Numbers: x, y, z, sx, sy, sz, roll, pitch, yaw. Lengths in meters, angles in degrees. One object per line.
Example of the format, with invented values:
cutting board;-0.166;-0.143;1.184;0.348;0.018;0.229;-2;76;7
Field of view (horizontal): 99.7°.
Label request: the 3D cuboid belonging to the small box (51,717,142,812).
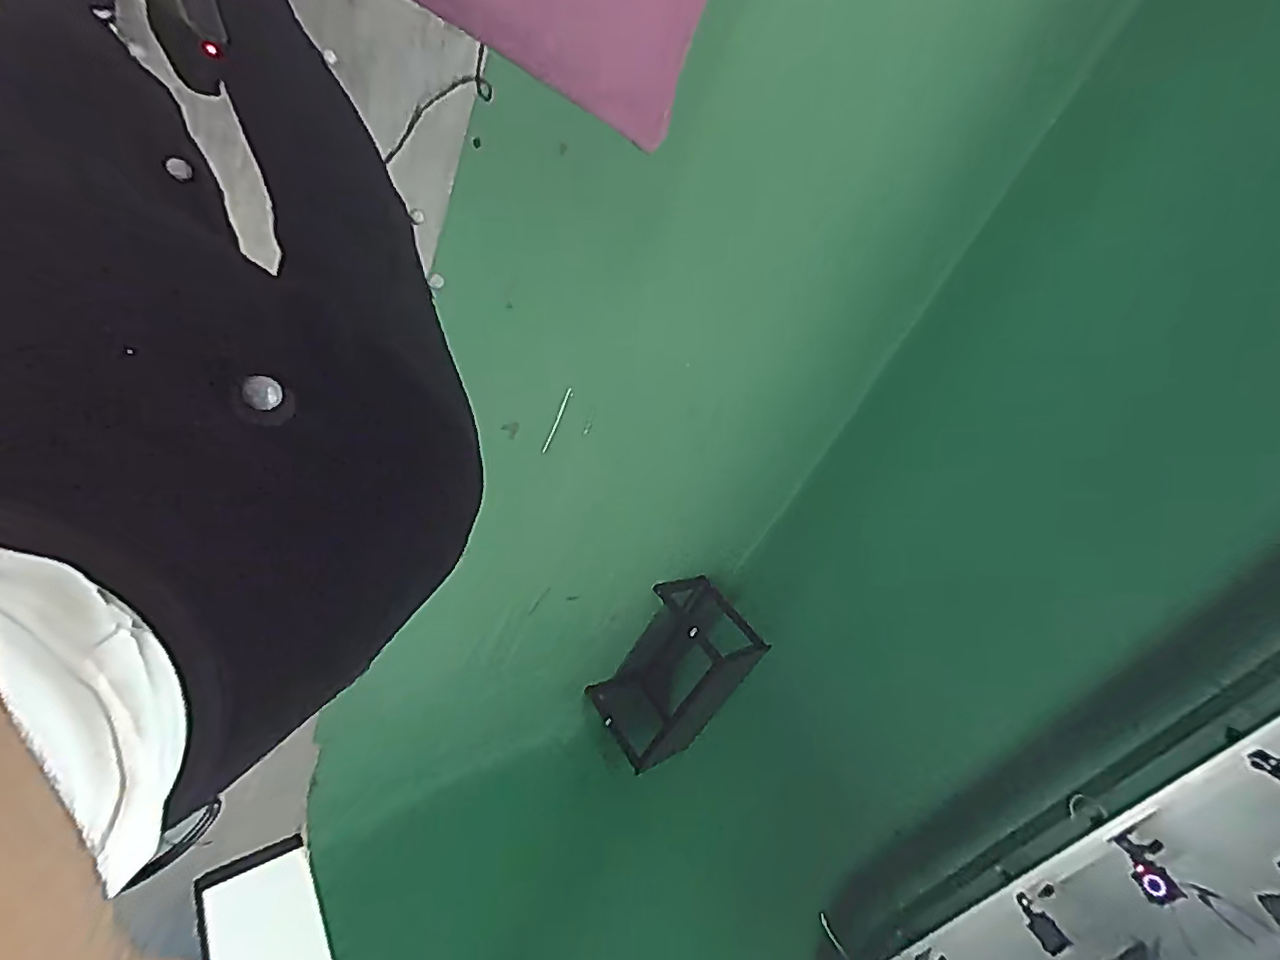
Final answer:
small box;-1.665;0.862;1.656;0.179;0.176;0.168;7;123;-50
